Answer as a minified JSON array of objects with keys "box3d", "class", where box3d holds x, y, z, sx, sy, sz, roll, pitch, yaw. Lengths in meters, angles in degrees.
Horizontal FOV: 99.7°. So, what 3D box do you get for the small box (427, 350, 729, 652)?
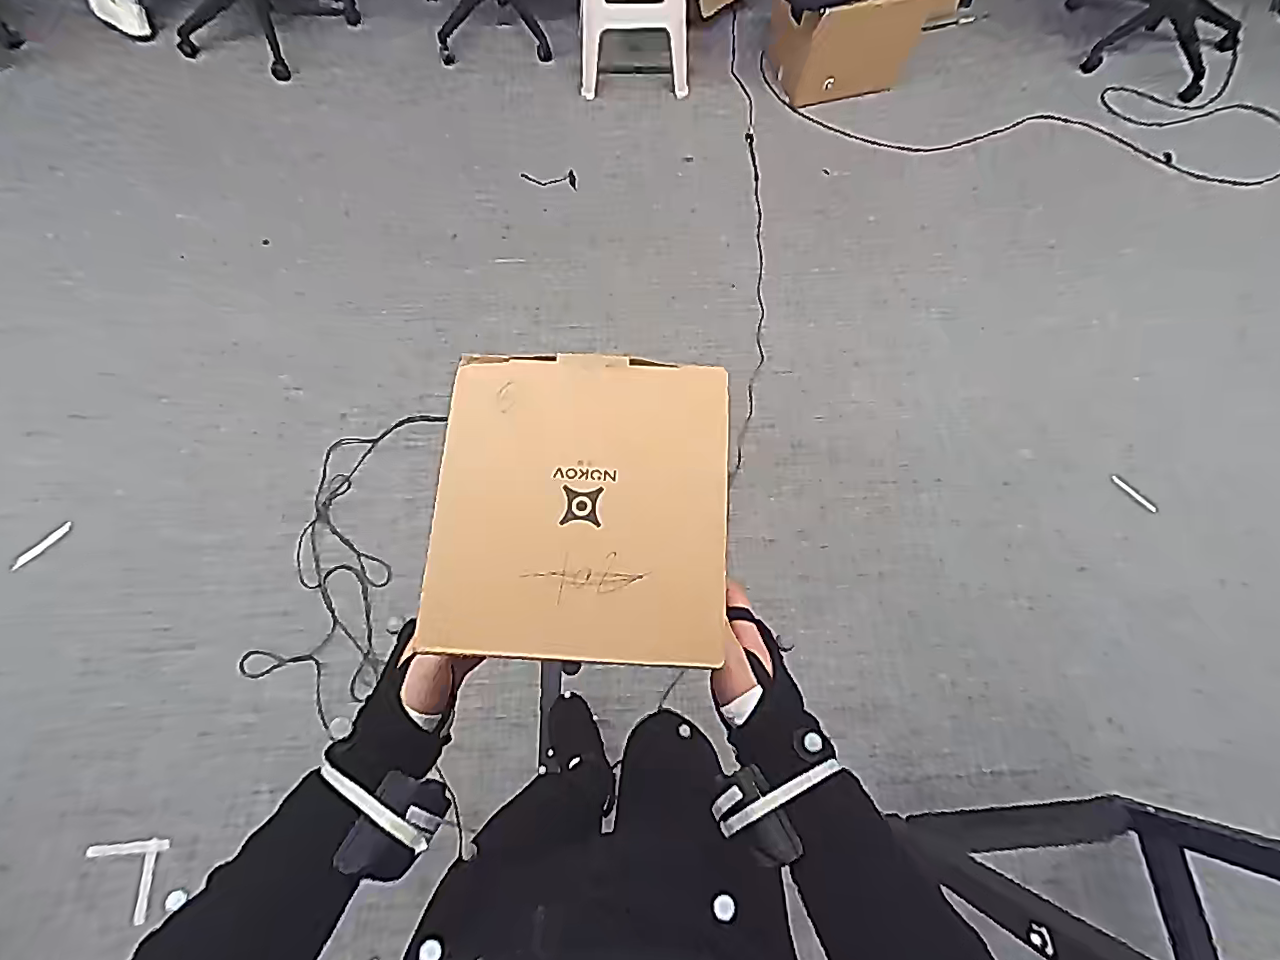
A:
[{"box3d":[-0.031,0.027,0.390,0.168,0.176,0.179,2,75,1],"class":"small box"}]
